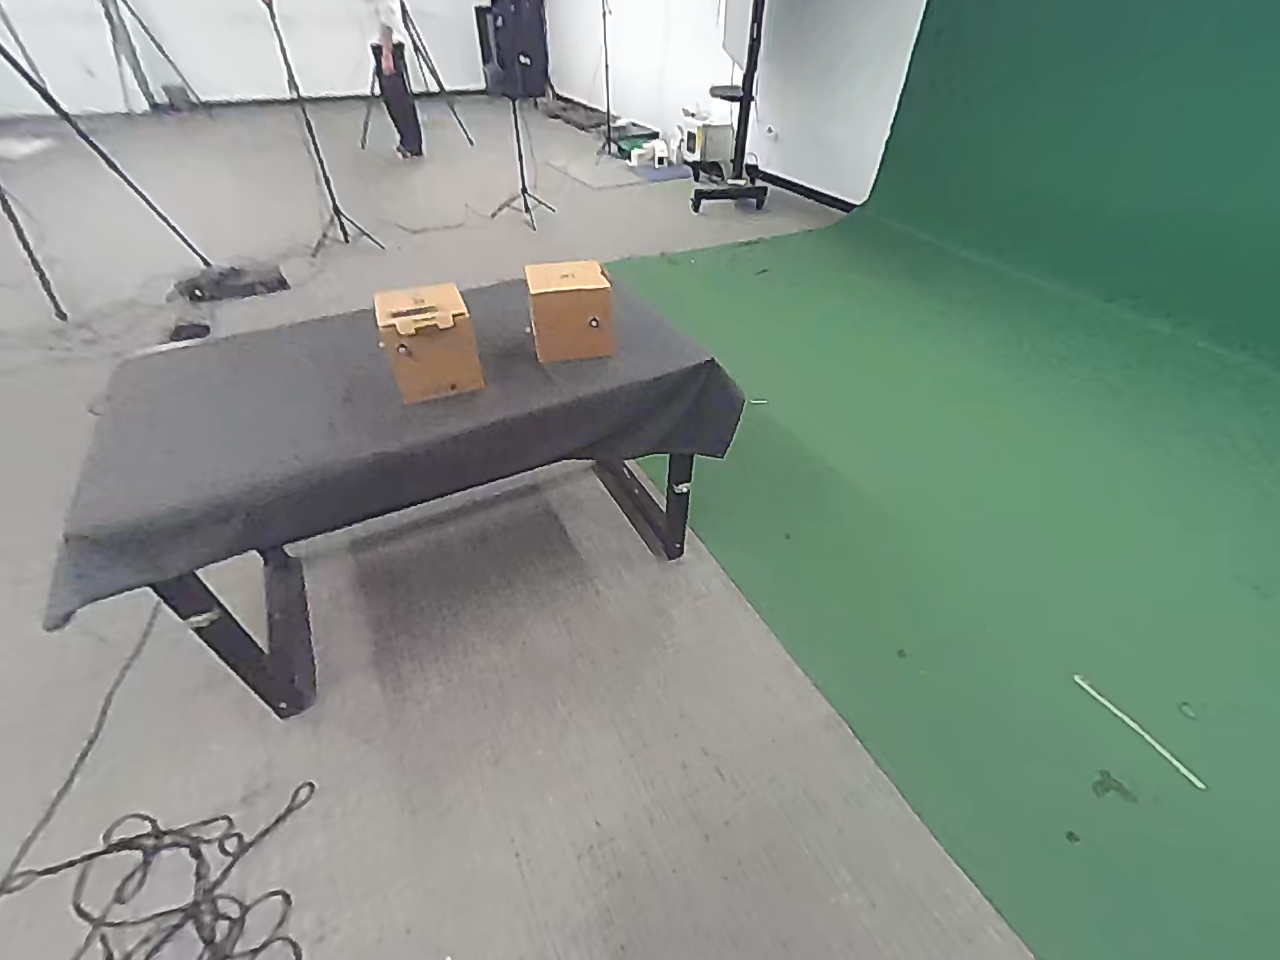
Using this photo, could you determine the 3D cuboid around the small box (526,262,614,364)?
[{"bbox_3d":[-0.161,-0.387,1.253,0.179,0.176,0.168,-9,42,-10],"label":"small box"}]
